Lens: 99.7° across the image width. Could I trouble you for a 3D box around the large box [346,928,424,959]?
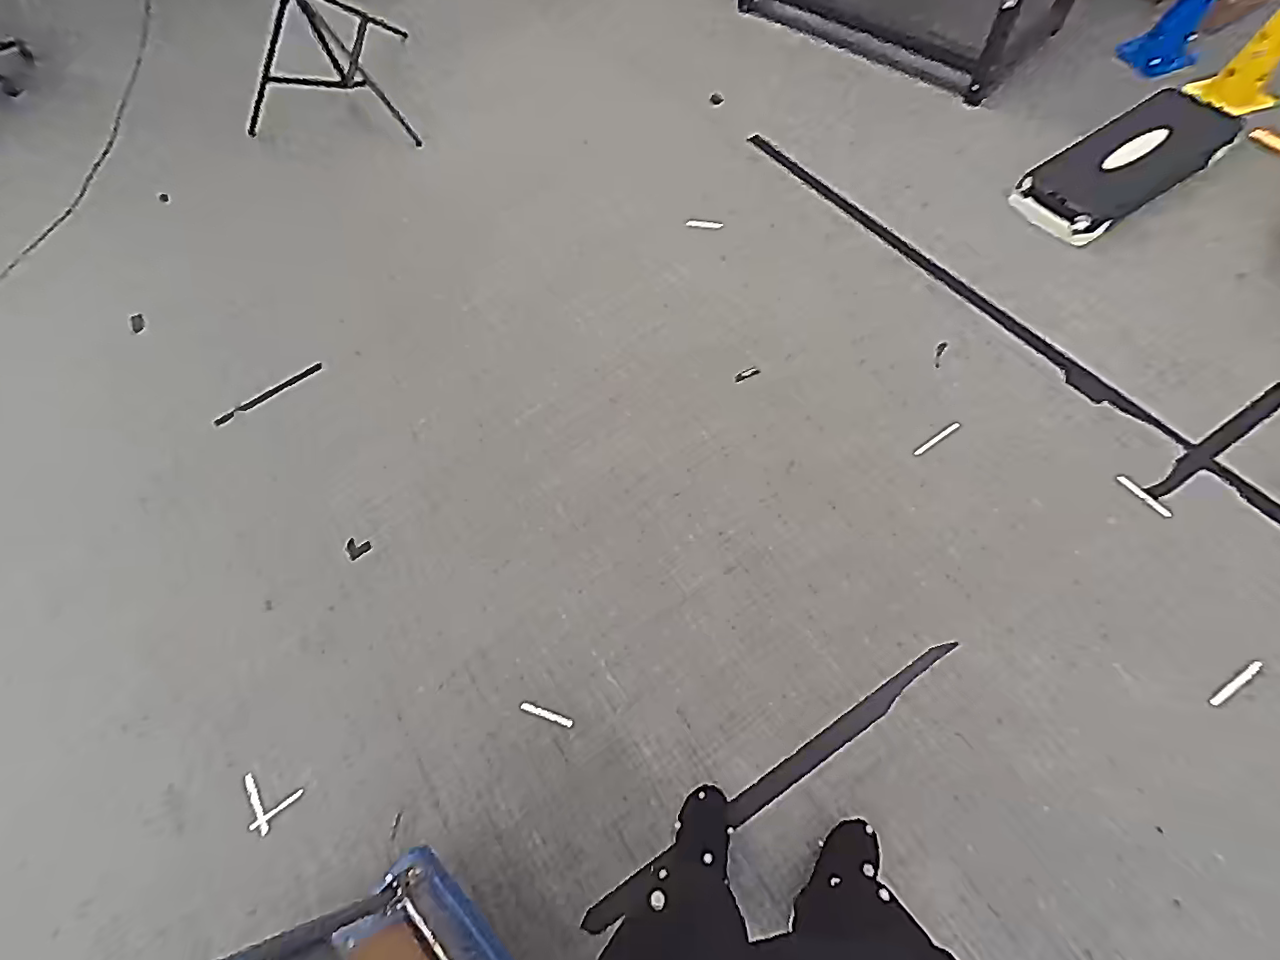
[{"bbox_3d":[-0.438,1.025,0.815,0.408,0.320,0.320,38,74,22],"label":"large box"}]
